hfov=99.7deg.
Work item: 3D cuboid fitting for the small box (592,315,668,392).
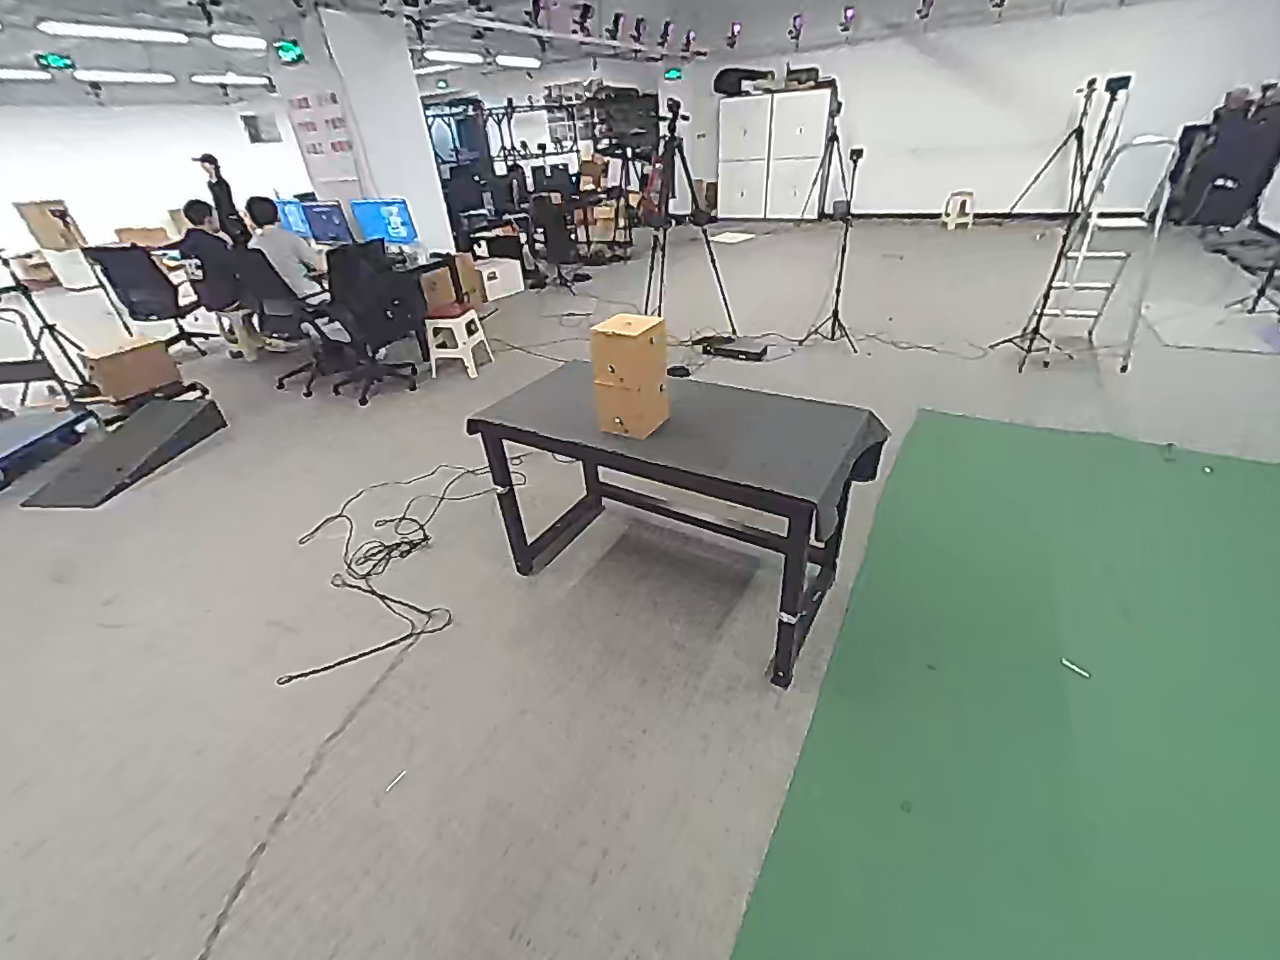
[{"bbox_3d":[-0.027,-0.385,1.634,0.168,0.176,0.179,15,37,27],"label":"small box"}]

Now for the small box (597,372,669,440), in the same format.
[{"bbox_3d":[-0.017,-0.247,1.720,0.168,0.176,0.179,14,36,28],"label":"small box"}]
